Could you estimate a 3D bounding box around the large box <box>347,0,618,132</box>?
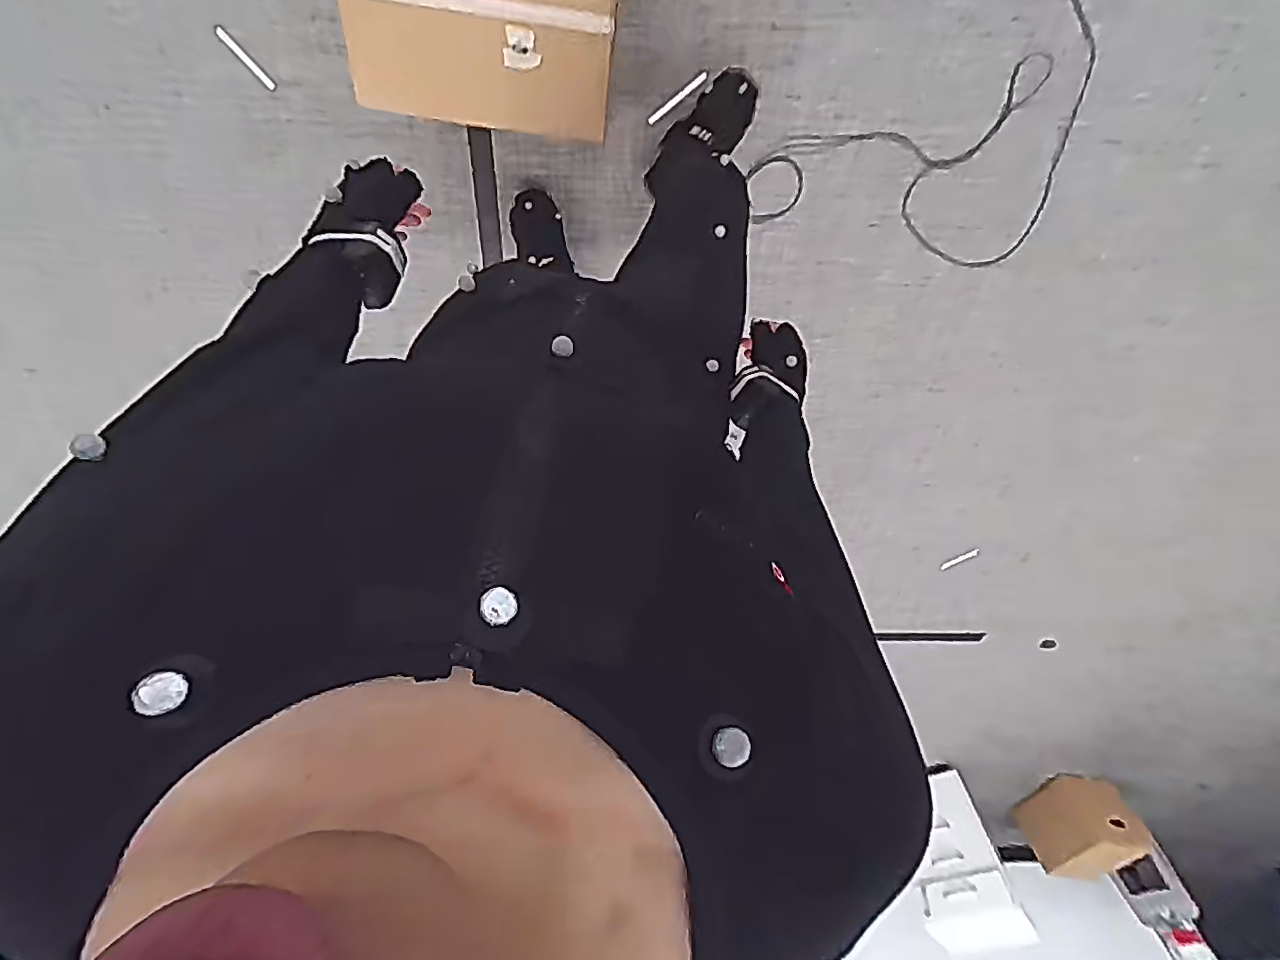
[{"bbox_3d":[-0.241,-0.813,0.919,0.408,0.320,0.320,5,129,-5],"label":"large box"}]
